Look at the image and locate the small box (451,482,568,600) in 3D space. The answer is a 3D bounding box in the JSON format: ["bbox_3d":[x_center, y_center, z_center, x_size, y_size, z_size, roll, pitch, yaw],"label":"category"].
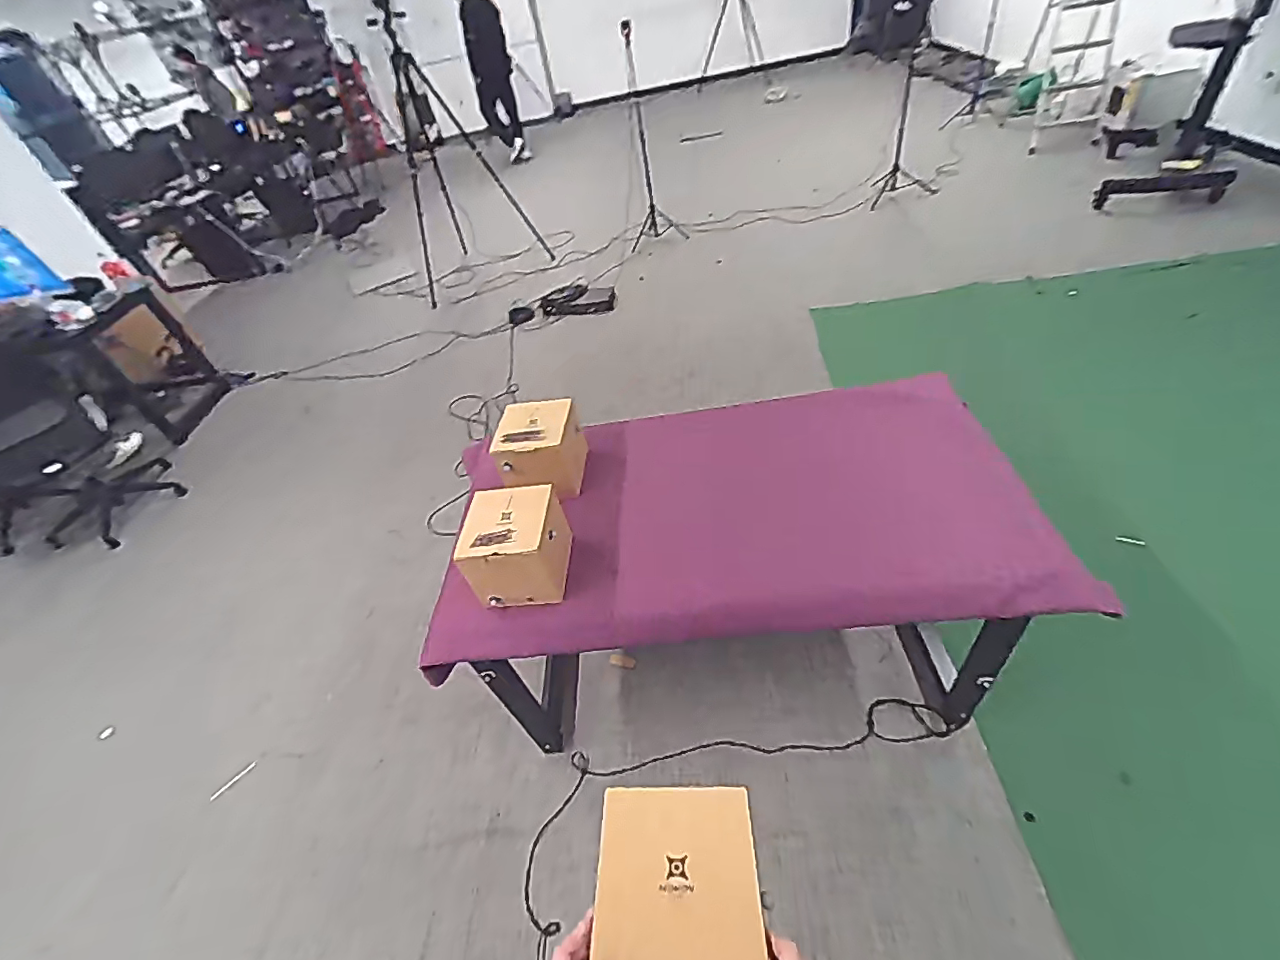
[{"bbox_3d":[-0.249,0.129,1.084,0.168,0.176,0.179,-5,43,7],"label":"small box"}]

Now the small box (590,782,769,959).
[{"bbox_3d":[0.041,0.463,0.594,0.168,0.176,0.179,-2,33,3],"label":"small box"}]
